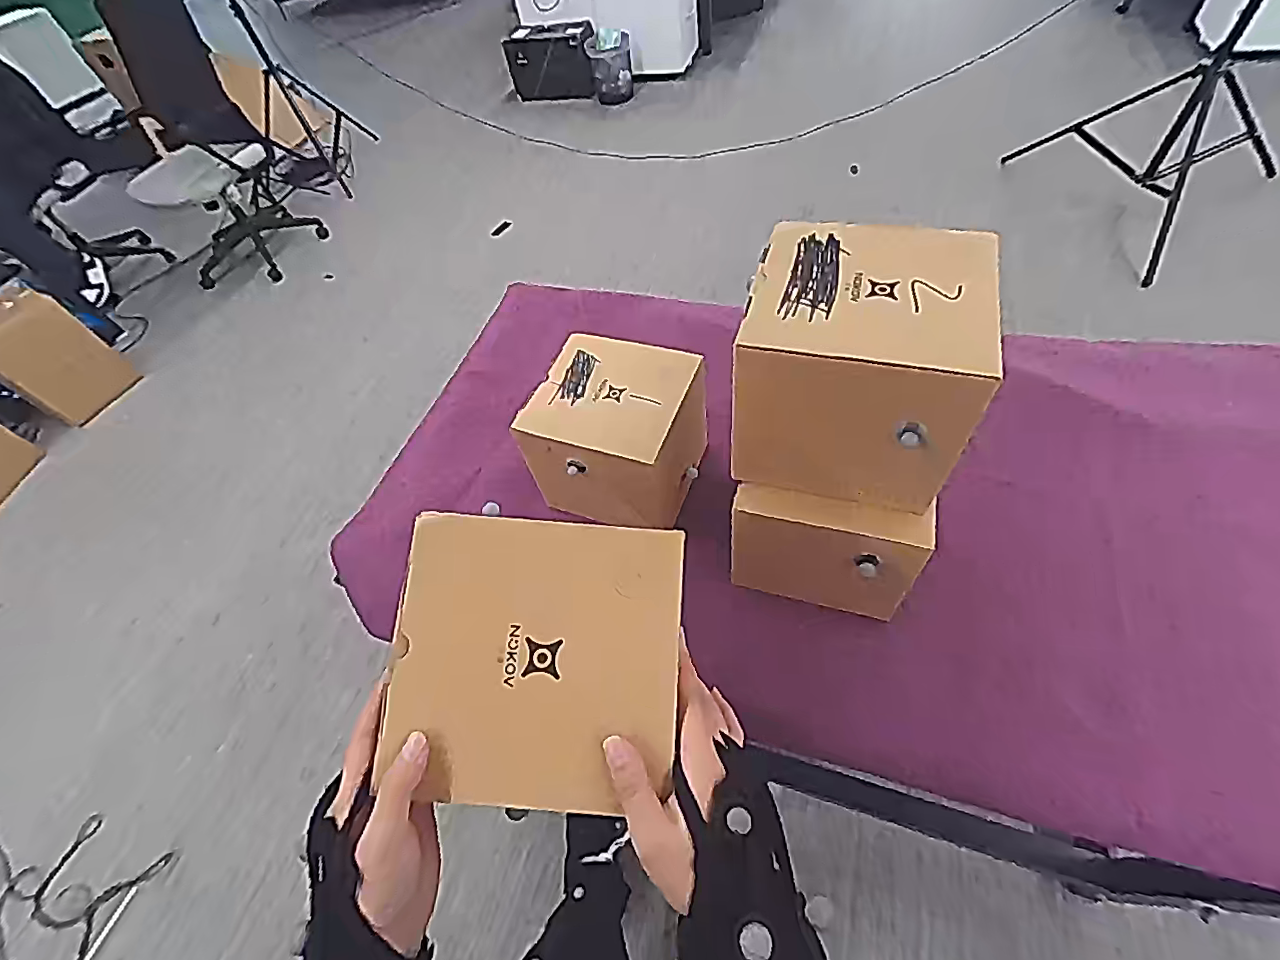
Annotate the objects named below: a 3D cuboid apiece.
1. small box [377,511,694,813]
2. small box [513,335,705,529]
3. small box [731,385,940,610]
[{"bbox_3d":[-0.058,0.124,0.402,0.179,0.176,0.168,3,74,1],"label":"small box"},{"bbox_3d":[-0.026,-0.054,0.682,0.179,0.176,0.168,15,58,18],"label":"small box"},{"bbox_3d":[0.203,0.024,0.588,0.179,0.176,0.168,11,56,17],"label":"small box"}]
